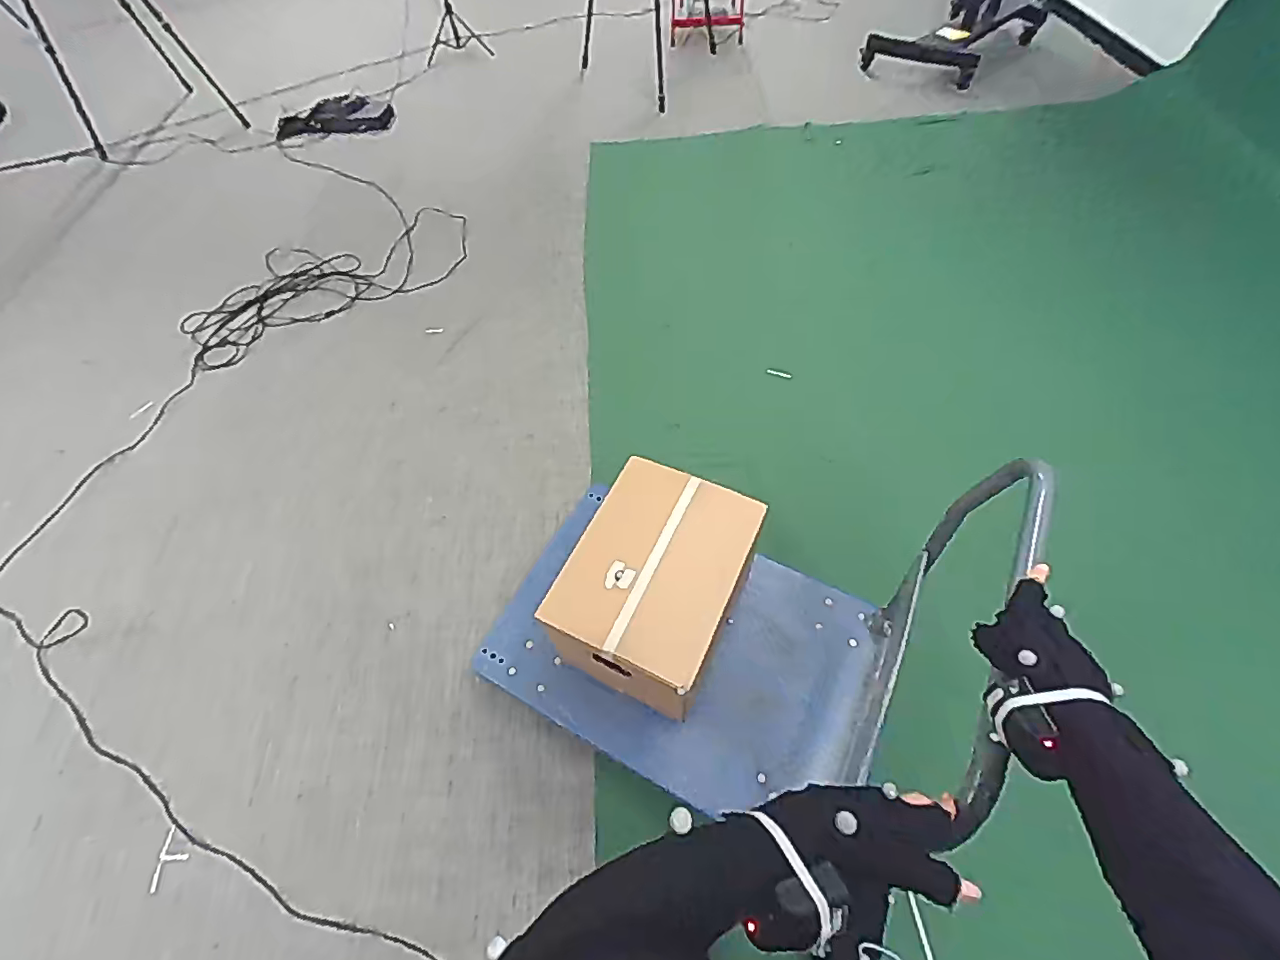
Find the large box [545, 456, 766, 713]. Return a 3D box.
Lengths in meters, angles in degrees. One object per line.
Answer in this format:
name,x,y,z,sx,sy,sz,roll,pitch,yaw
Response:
large box,0.049,0.227,1.180,0.320,0.320,0.408,20,61,17
